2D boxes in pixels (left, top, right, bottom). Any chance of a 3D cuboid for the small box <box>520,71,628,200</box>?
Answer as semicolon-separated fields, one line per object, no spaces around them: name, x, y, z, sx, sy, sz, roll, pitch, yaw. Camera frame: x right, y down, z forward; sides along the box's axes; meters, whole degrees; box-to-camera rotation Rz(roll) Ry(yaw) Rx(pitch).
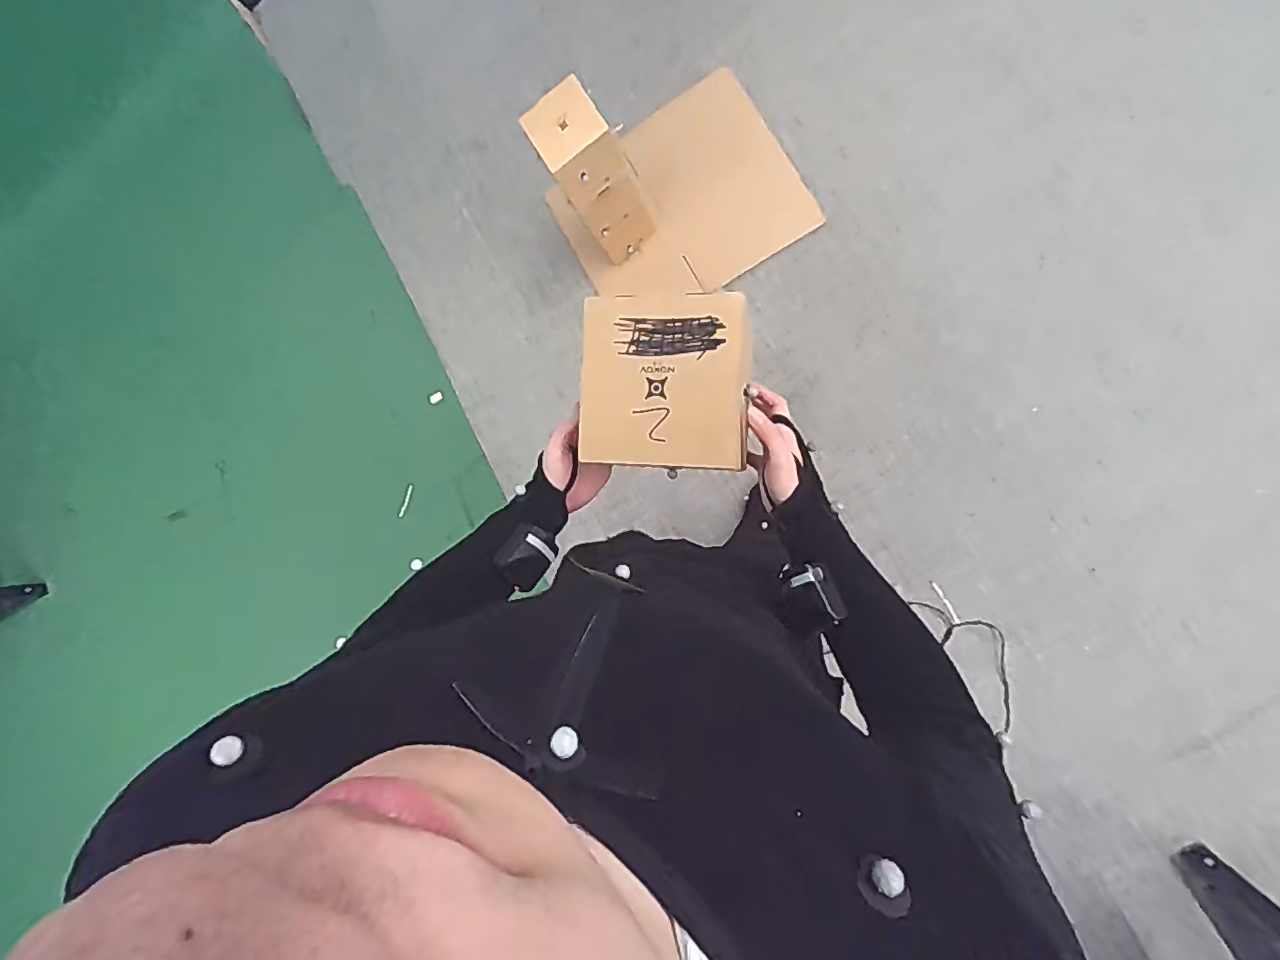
small box;-0.152;-0.819;1.315;0.168;0.176;0.179;-33;79;11

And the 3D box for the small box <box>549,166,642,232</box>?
small box;-0.116;-0.809;1.472;0.168;0.176;0.179;-33;79;11

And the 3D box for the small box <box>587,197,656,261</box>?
small box;-0.075;-0.802;1.631;0.168;0.176;0.179;-37;80;10
